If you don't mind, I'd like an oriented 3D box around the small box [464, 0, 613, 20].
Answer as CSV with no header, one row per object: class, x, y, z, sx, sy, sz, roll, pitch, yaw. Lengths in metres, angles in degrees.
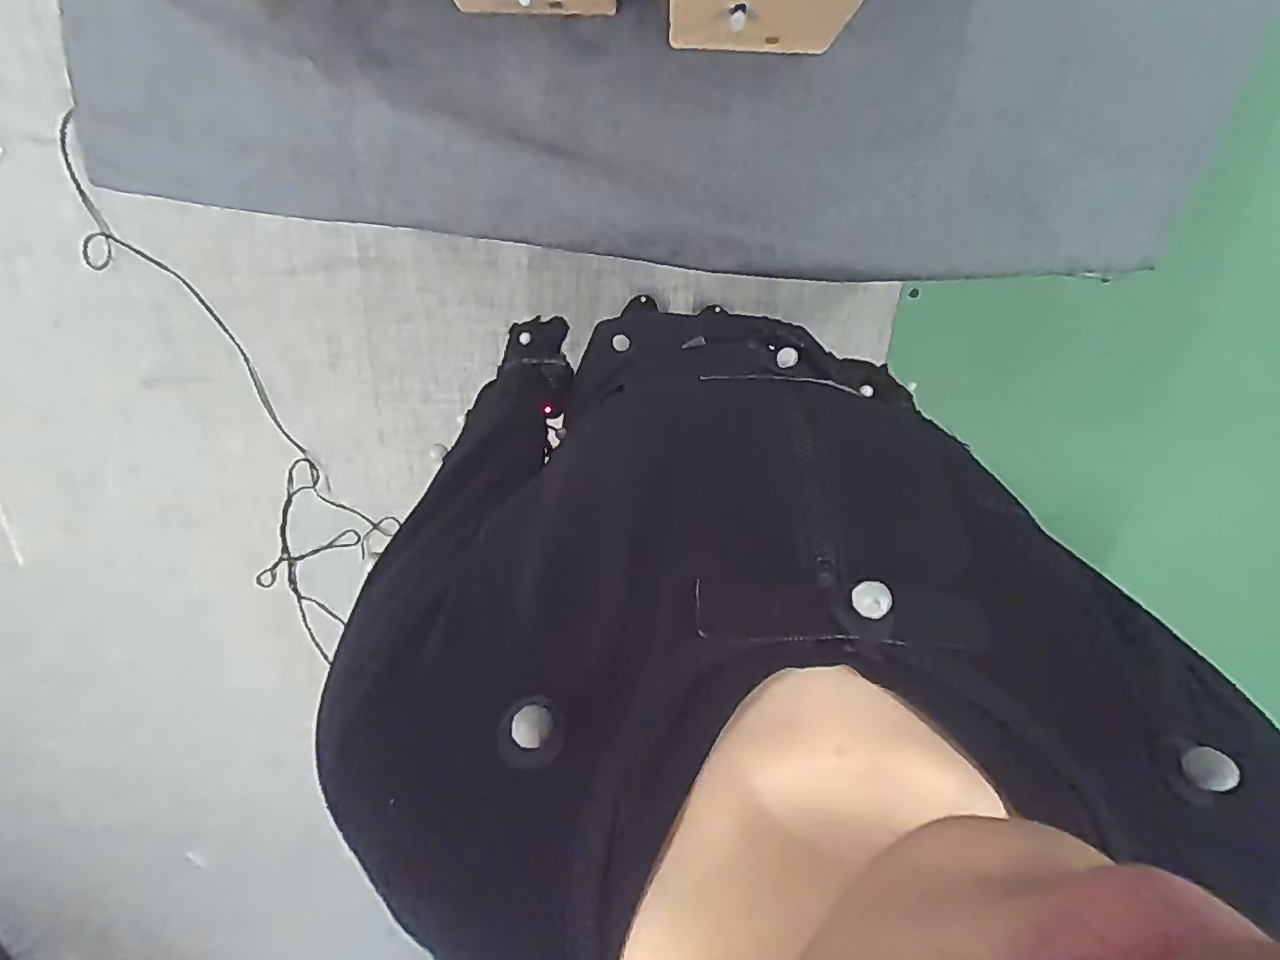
small box,-0.107,-0.540,0.460,0.168,0.176,0.179,2,110,1
